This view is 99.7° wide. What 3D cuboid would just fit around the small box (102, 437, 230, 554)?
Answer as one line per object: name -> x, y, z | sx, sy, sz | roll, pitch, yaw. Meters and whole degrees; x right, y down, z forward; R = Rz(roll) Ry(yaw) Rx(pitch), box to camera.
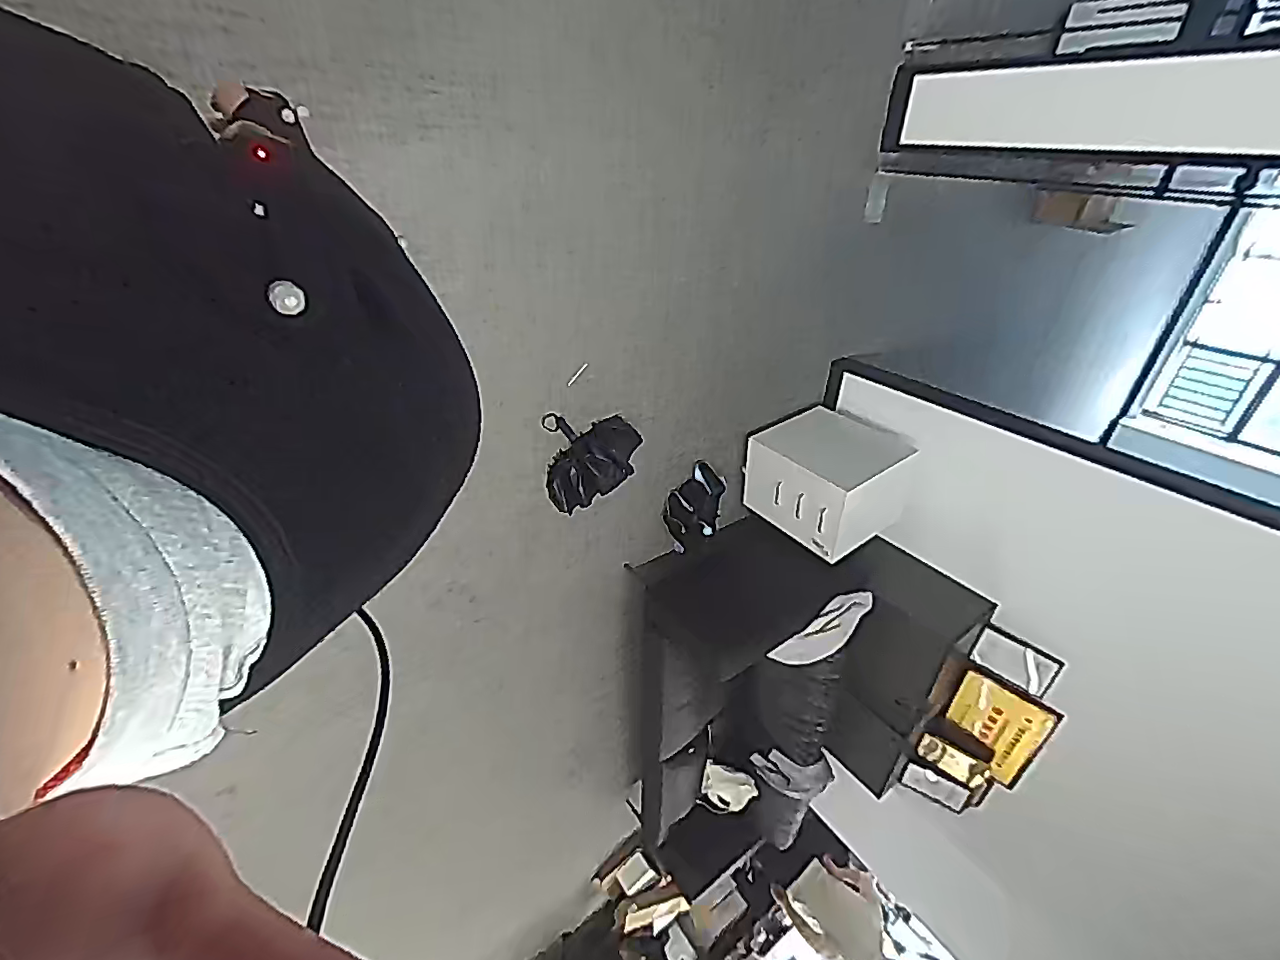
small box -> -0.977, 0.033, 1.118 | 0.168, 0.176, 0.179 | 13, 106, -46
